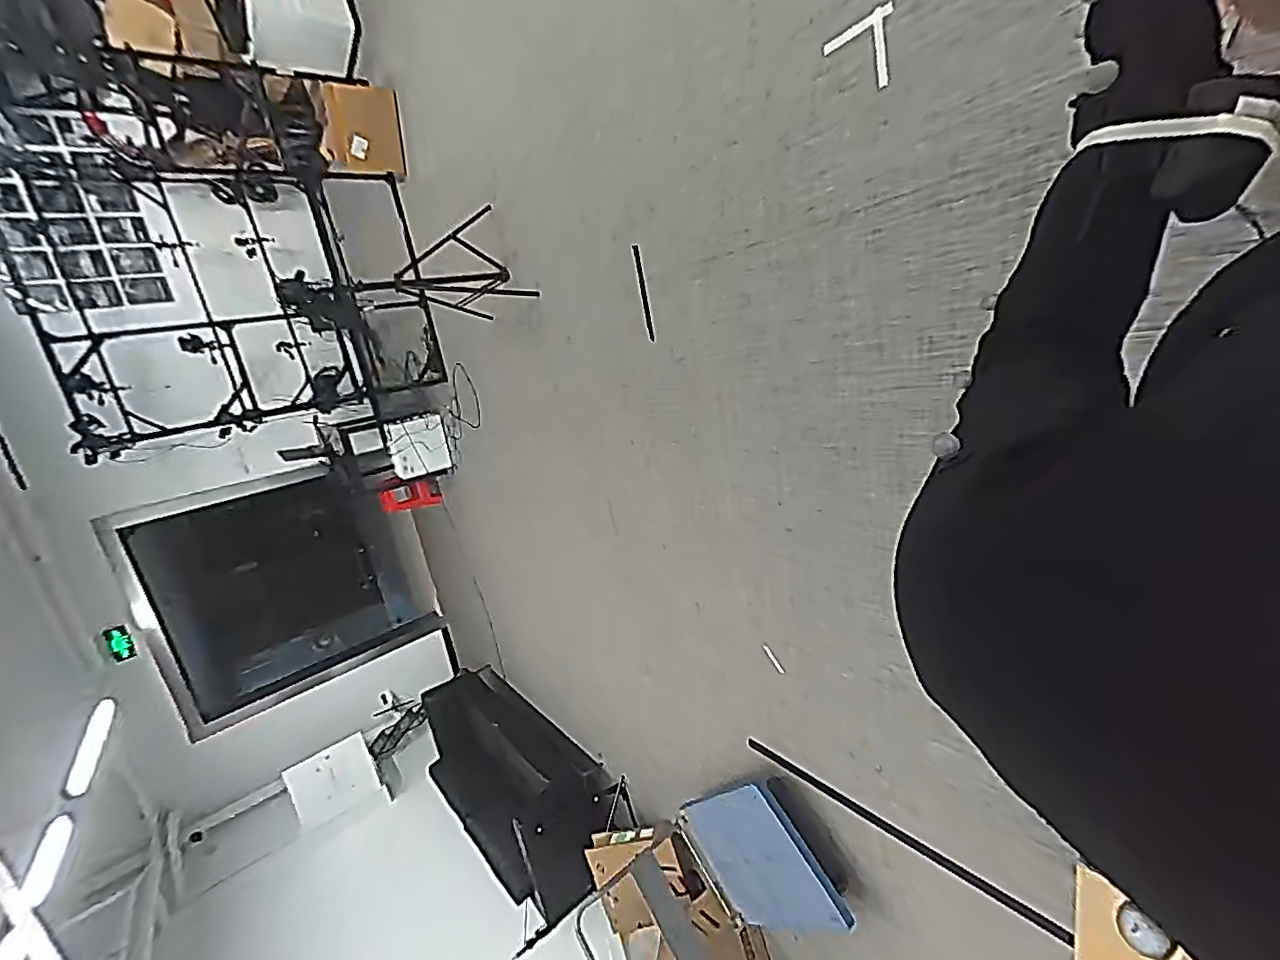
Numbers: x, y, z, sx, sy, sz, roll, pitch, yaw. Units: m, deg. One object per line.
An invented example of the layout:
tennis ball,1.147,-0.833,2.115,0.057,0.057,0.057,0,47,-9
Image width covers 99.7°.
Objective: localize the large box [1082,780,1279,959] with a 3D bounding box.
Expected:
large box,1.165,0.948,1.127,0.320,0.320,0.408,7,111,52
